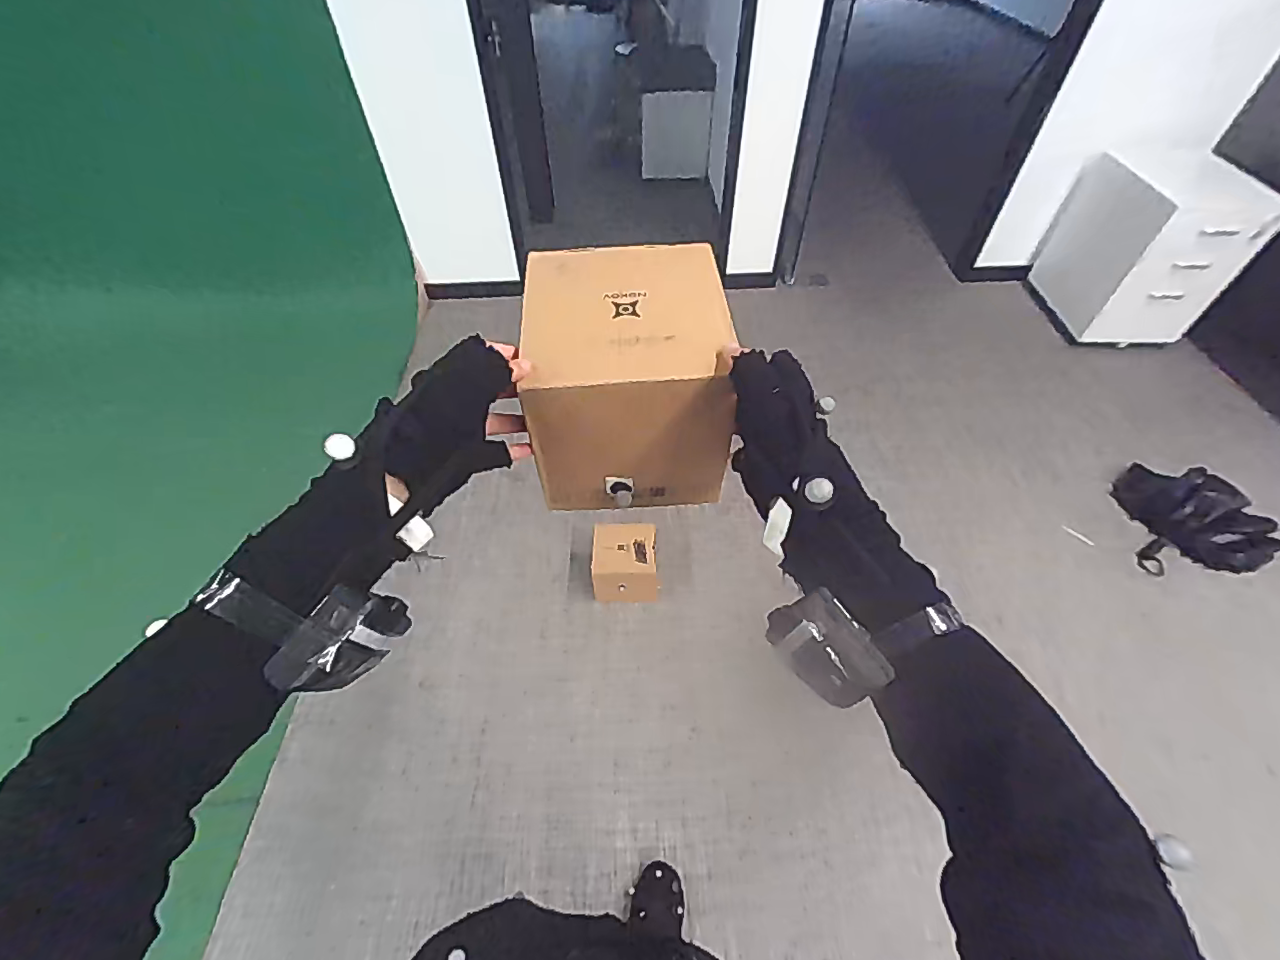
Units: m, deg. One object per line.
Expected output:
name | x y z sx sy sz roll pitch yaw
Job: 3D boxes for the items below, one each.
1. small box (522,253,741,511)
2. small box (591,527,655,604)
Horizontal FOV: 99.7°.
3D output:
small box | -0.011 -0.090 0.512 0.168 0.176 0.179 -4 53 -2
small box | -0.046 0.251 1.578 0.179 0.176 0.168 -1 49 1
